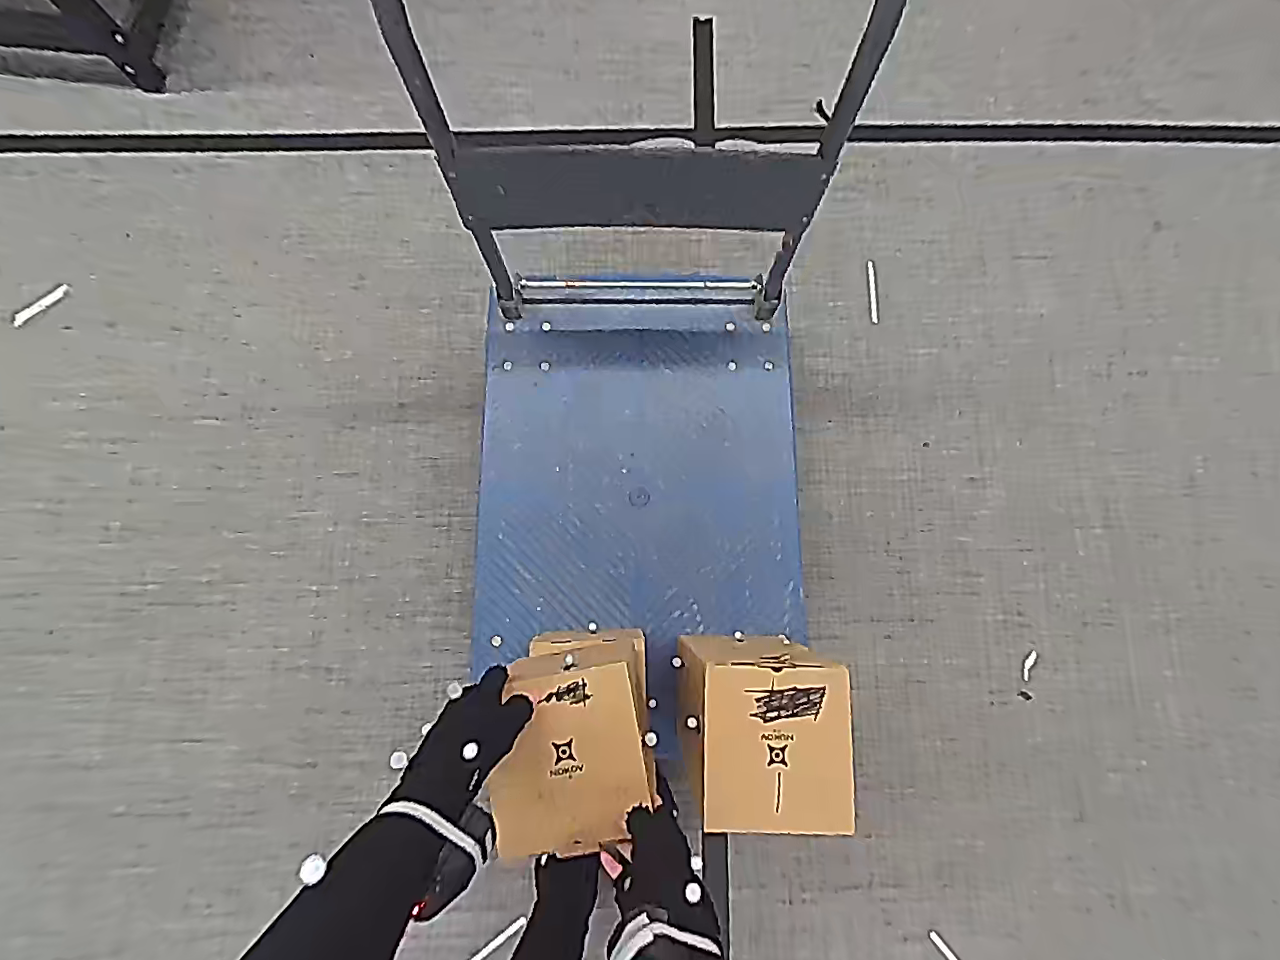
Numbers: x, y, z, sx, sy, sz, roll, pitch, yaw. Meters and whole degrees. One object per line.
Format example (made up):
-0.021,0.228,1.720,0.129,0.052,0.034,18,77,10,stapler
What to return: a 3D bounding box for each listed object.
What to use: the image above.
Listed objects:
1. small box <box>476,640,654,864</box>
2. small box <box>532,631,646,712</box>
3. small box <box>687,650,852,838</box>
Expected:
-0.077,0.303,0.639,0.168,0.176,0.179,-11,82,0,small box
-0.073,0.333,0.835,0.168,0.176,0.179,-1,79,-2,small box
0.149,0.312,0.675,0.168,0.176,0.179,2,80,0,small box
